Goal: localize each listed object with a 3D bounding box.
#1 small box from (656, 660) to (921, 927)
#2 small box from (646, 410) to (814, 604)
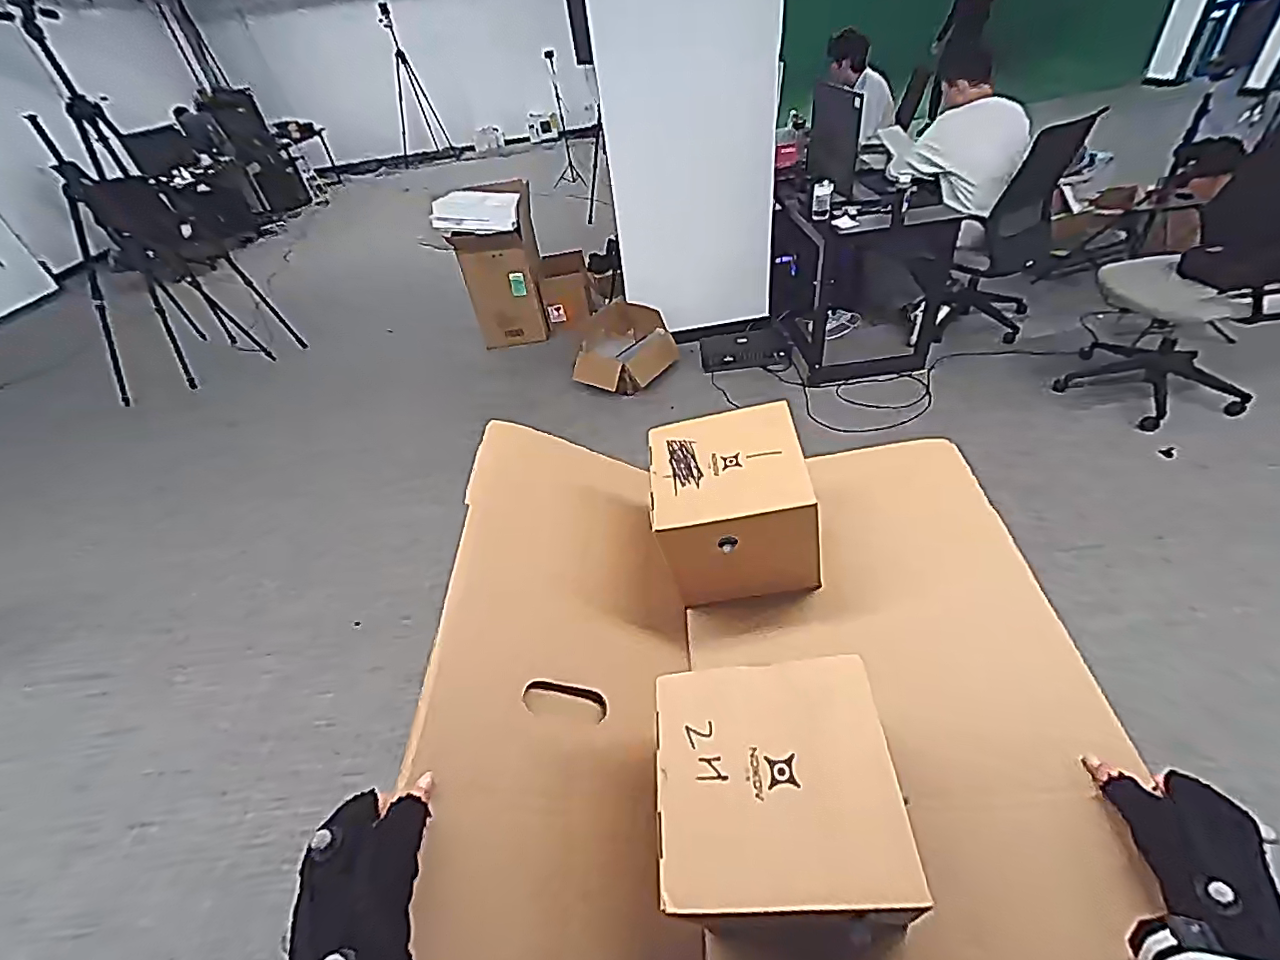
[{"bbox_3d":[0.117,0.275,0.470,0.179,0.176,0.168,-11,46,12],"label":"small box"},{"bbox_3d":[0.114,0.041,0.685,0.179,0.176,0.168,-11,47,10],"label":"small box"}]
